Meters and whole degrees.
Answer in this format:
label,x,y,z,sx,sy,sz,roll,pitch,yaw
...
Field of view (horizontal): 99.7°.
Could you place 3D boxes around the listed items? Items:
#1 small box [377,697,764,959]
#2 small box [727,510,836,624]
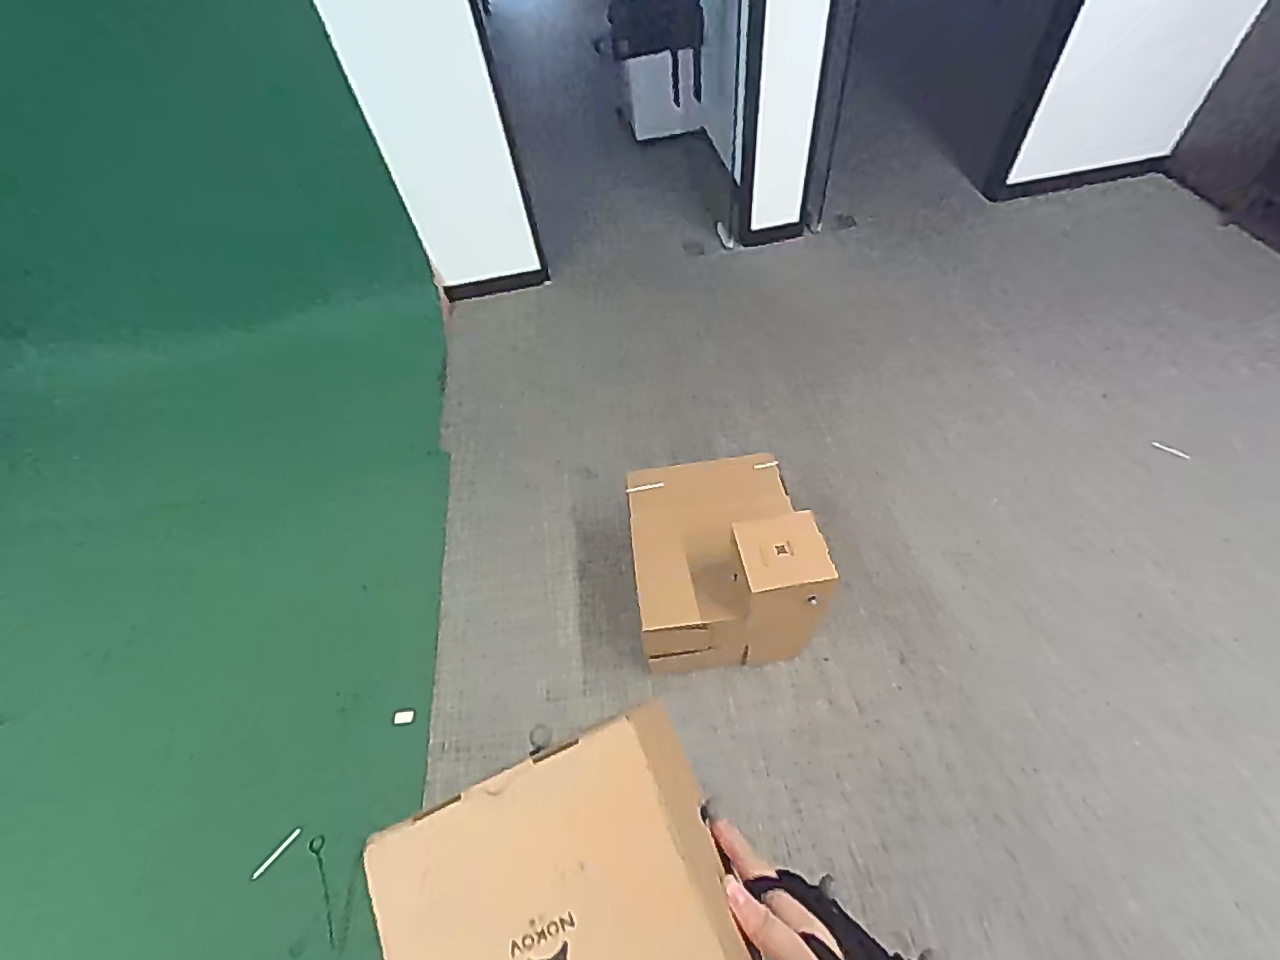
label,x,y,z,sx,sy,sz,roll,pitch,yaw
small box,-0.031,0.258,0.351,0.168,0.176,0.179,-26,70,-1
small box,0.290,0.188,1.153,0.179,0.176,0.168,-10,52,-1
